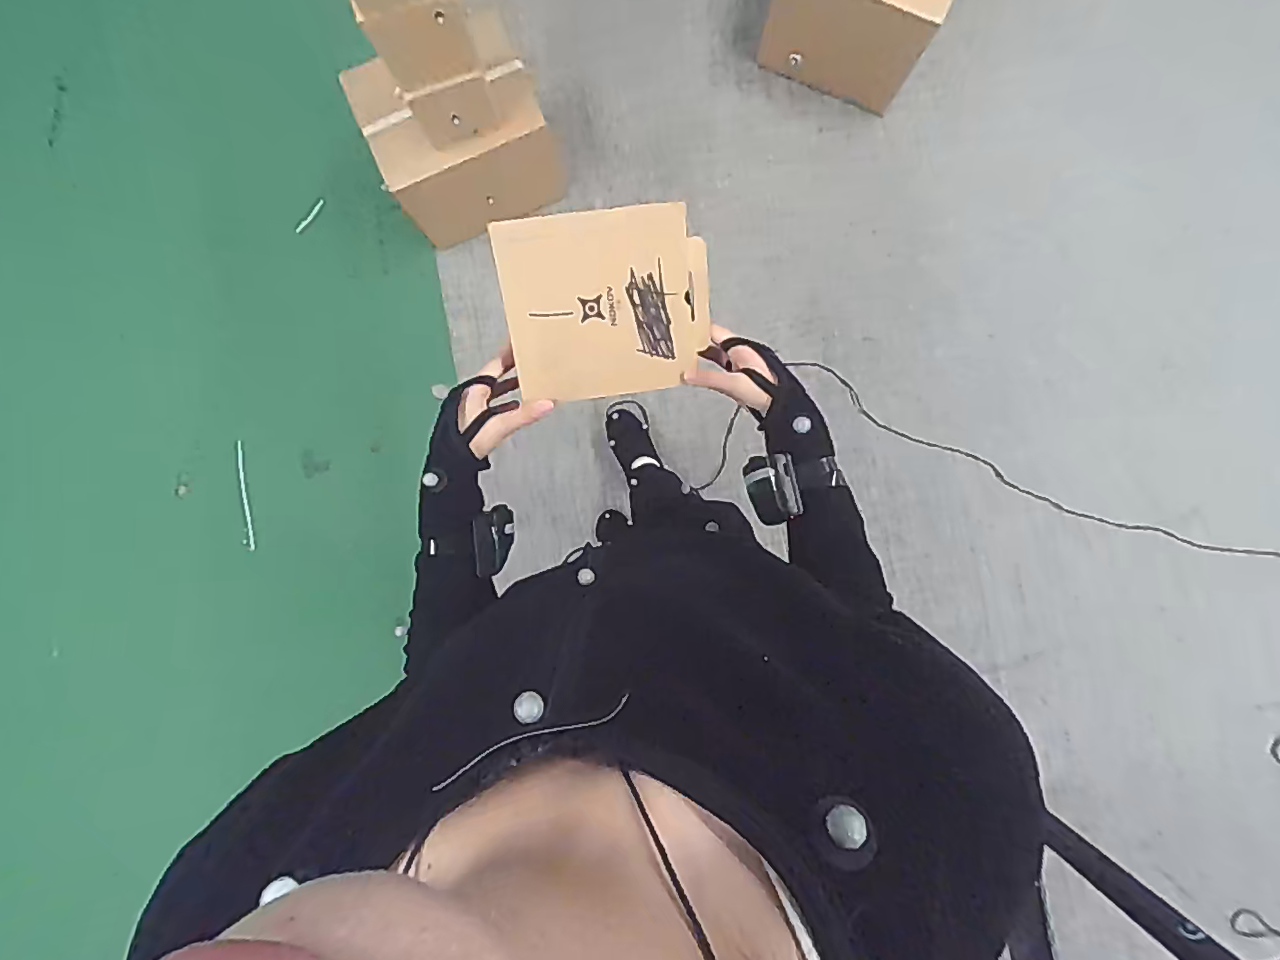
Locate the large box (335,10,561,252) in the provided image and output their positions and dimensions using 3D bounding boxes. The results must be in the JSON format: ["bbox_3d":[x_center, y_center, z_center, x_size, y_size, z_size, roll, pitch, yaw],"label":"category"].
[{"bbox_3d":[-0.466,-0.869,1.398,0.408,0.320,0.320,-24,87,0],"label":"large box"}]

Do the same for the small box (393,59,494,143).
[{"bbox_3d":[-0.430,-0.859,1.152,0.168,0.176,0.179,-19,89,-1],"label":"small box"}]

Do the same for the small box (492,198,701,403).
[{"bbox_3d":[-0.044,-0.187,0.564,0.179,0.176,0.168,-8,110,-4],"label":"small box"}]

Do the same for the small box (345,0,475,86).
[{"bbox_3d":[-0.428,-0.872,0.991,0.179,0.176,0.168,-18,88,-1],"label":"small box"}]
